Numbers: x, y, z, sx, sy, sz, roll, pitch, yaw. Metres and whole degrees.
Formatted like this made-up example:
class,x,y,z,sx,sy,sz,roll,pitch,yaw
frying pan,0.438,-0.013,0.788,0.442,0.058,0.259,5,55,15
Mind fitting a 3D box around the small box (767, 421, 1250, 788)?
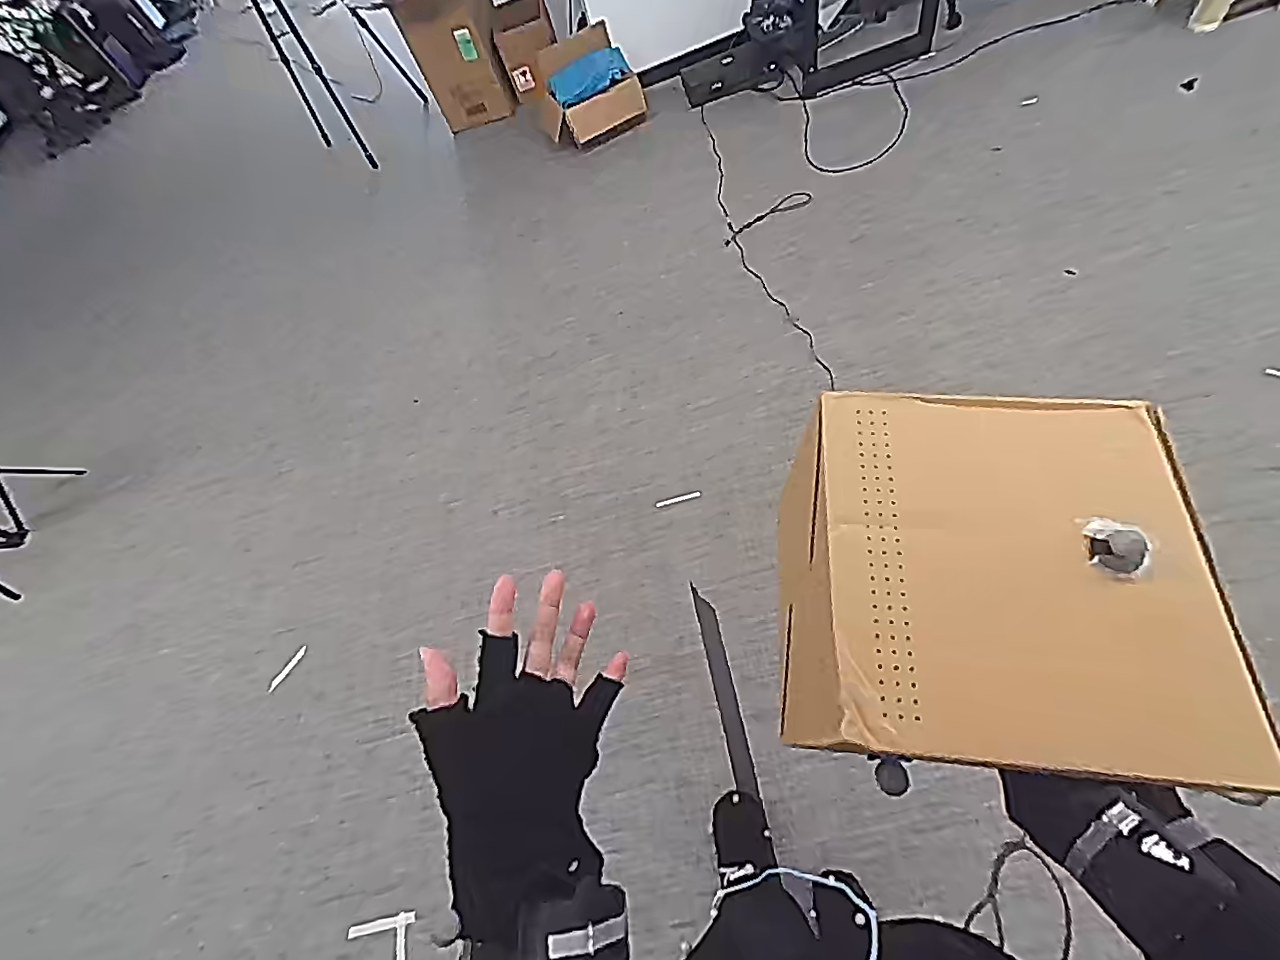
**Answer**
class,x,y,z,sx,sy,sz,roll,pitch,yaw
small box,0.173,0.076,0.329,0.176,0.168,0.179,3,64,8
